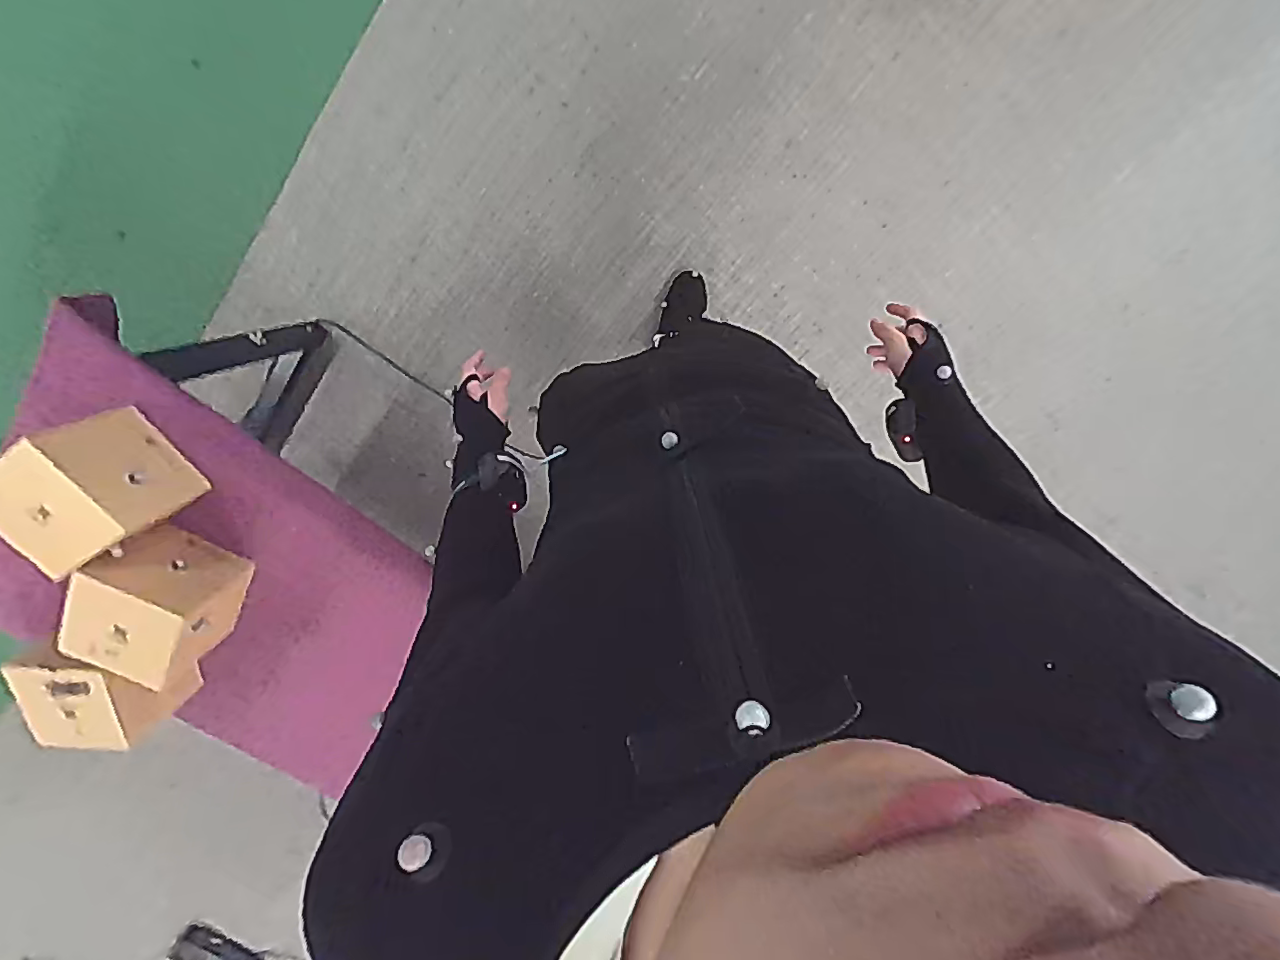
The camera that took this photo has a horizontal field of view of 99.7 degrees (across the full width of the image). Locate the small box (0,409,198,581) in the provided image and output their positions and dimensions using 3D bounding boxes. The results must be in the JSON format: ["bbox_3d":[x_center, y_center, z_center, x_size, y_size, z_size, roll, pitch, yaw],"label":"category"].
[{"bbox_3d":[-0.841,0.015,0.830,0.179,0.176,0.168,-28,110,14],"label":"small box"}]
